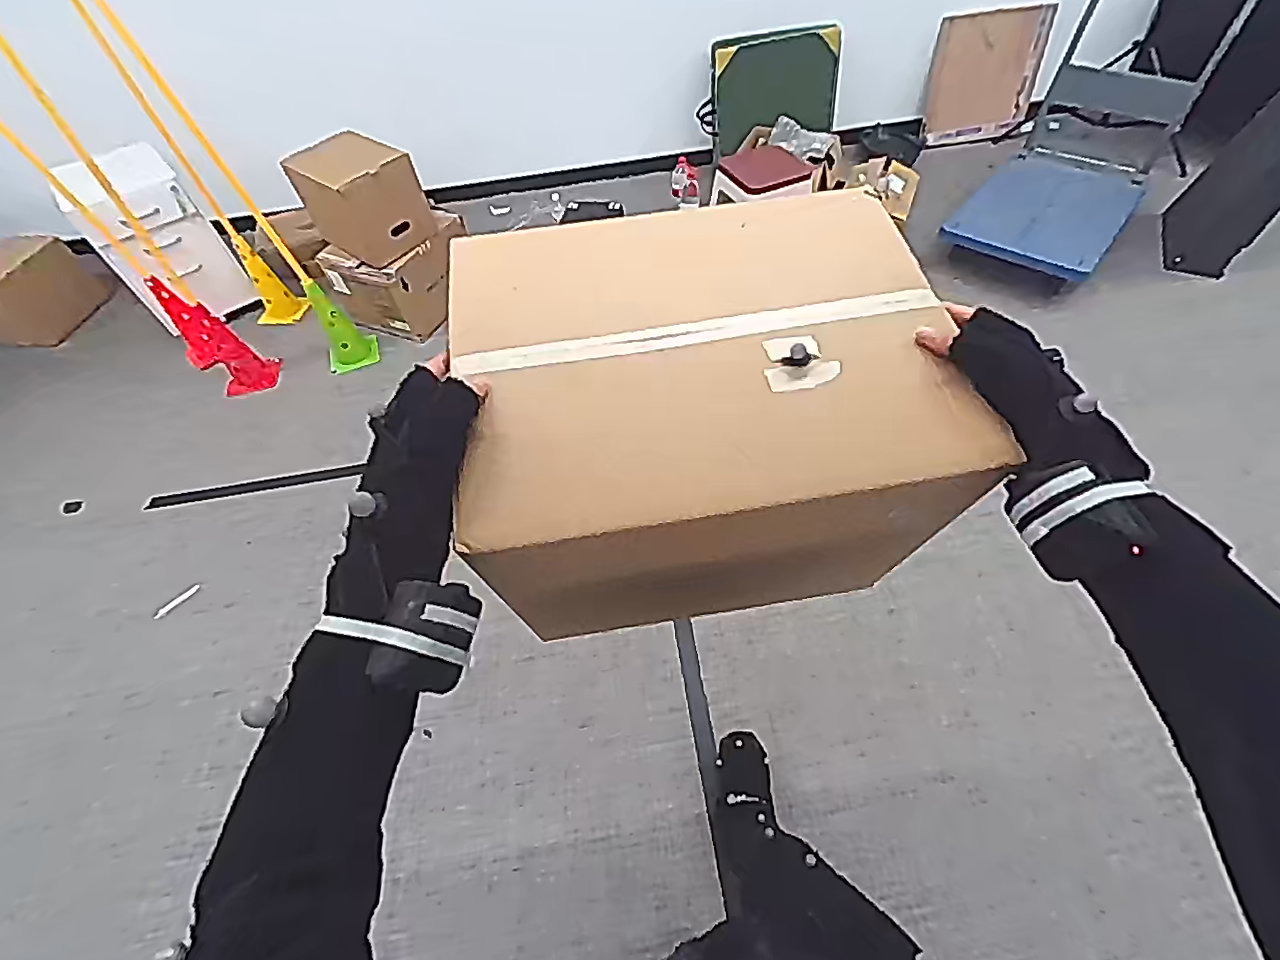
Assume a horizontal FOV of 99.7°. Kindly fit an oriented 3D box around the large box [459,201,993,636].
[{"bbox_3d":[0.049,-0.046,0.592,0.408,0.320,0.320,-9,63,-3],"label":"large box"}]
